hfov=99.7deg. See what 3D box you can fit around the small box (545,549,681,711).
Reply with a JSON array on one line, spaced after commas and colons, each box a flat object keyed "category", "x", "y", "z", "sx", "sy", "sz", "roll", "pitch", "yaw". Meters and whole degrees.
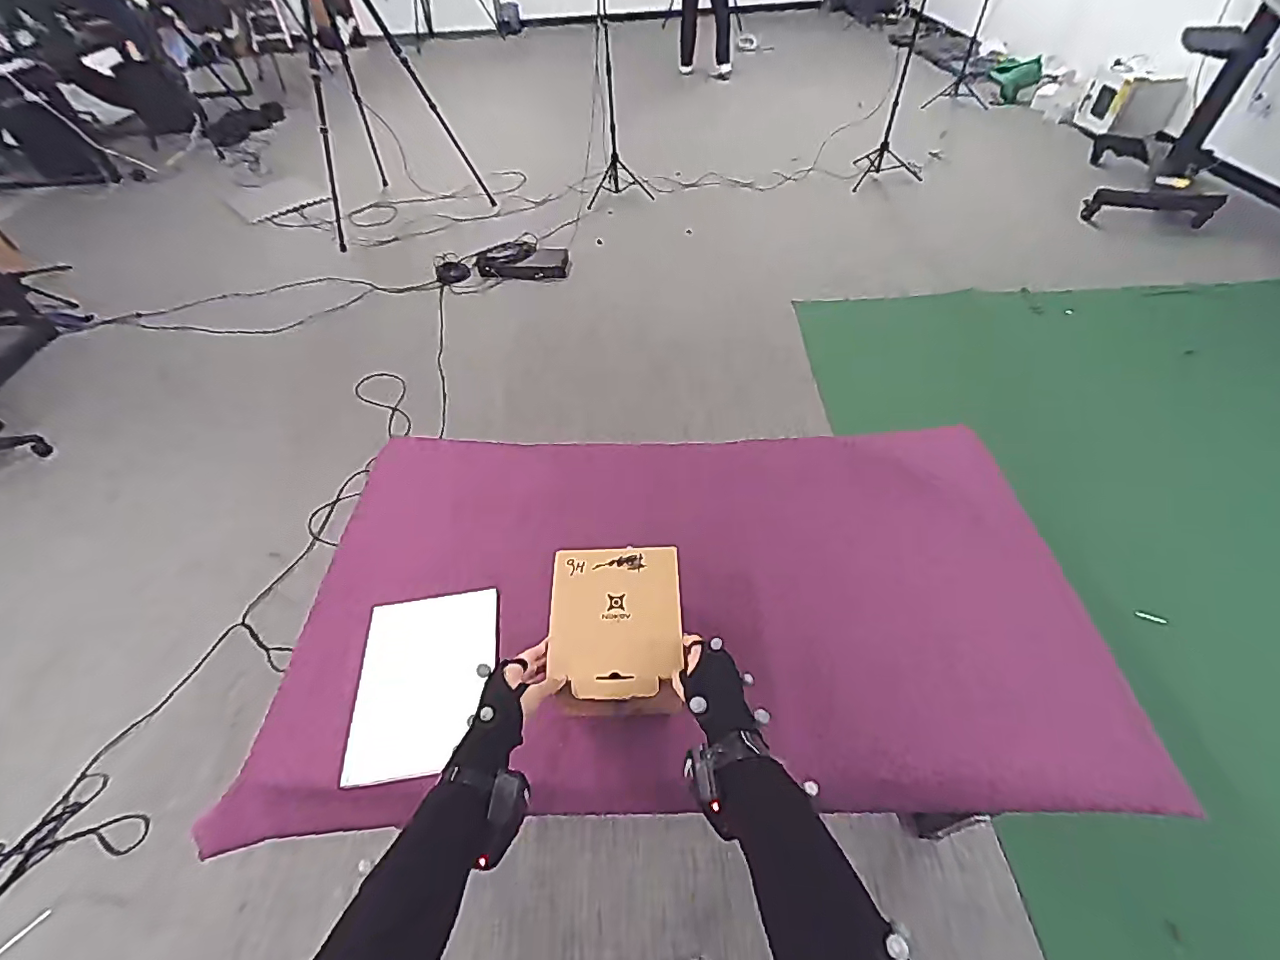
[{"category": "small box", "x": -0.028, "y": 0.213, "z": 0.748, "sx": 0.168, "sy": 0.176, "sz": 0.179, "roll": -1, "pitch": 53, "yaw": 1}]
